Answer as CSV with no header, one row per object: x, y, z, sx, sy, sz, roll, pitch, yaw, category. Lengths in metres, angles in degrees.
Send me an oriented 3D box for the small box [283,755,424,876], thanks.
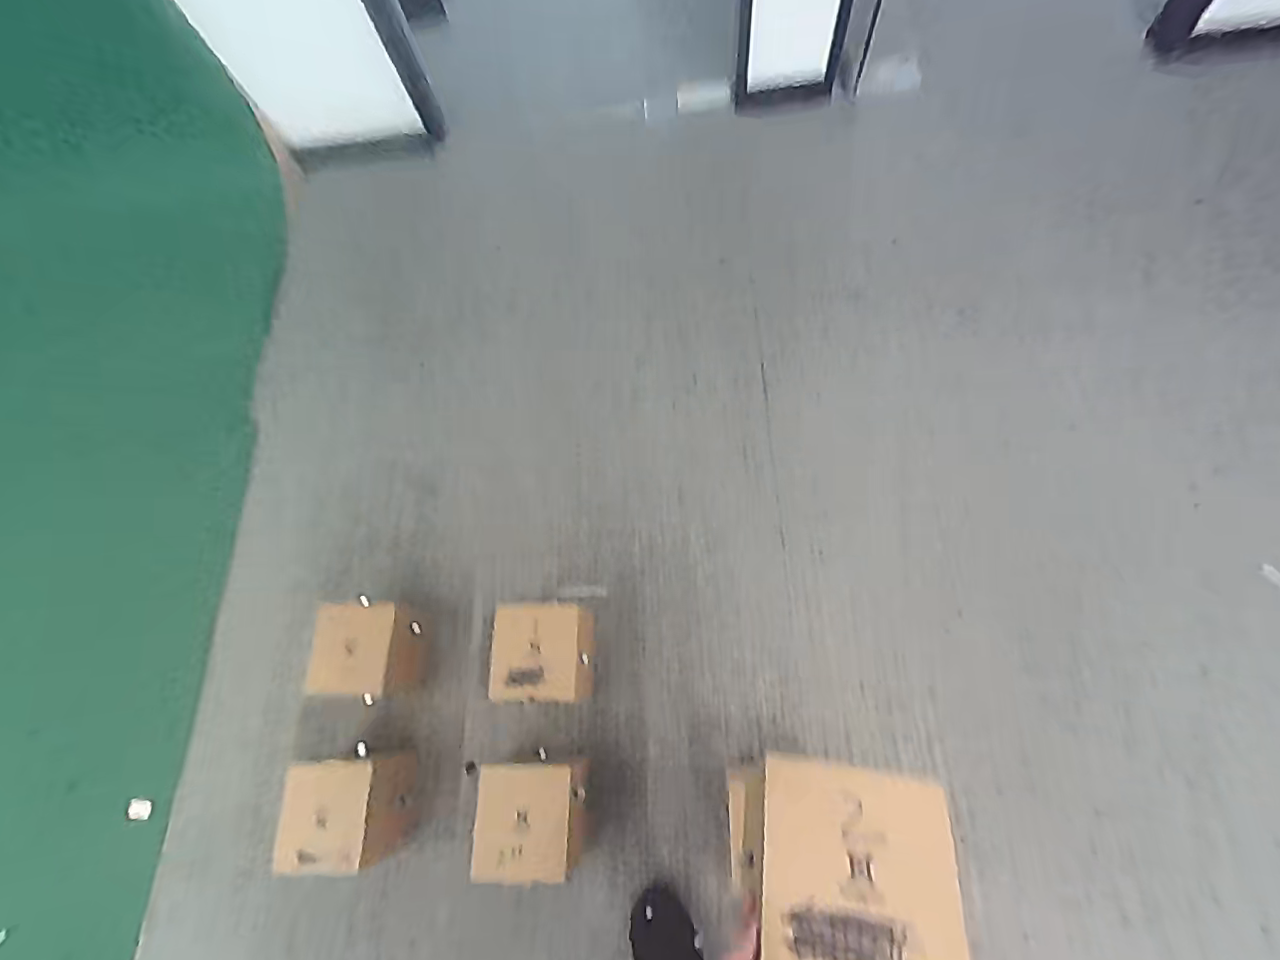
-0.540,0.637,1.047,0.168,0.176,0.179,-4,68,7,small box

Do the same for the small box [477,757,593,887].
-0.185,0.622,1.007,0.168,0.176,0.179,-2,70,7,small box

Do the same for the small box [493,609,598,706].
-0.183,0.362,1.102,0.168,0.176,0.179,-2,69,7,small box

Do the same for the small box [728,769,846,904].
0.247,0.616,0.955,0.179,0.176,0.168,-2,69,6,small box
